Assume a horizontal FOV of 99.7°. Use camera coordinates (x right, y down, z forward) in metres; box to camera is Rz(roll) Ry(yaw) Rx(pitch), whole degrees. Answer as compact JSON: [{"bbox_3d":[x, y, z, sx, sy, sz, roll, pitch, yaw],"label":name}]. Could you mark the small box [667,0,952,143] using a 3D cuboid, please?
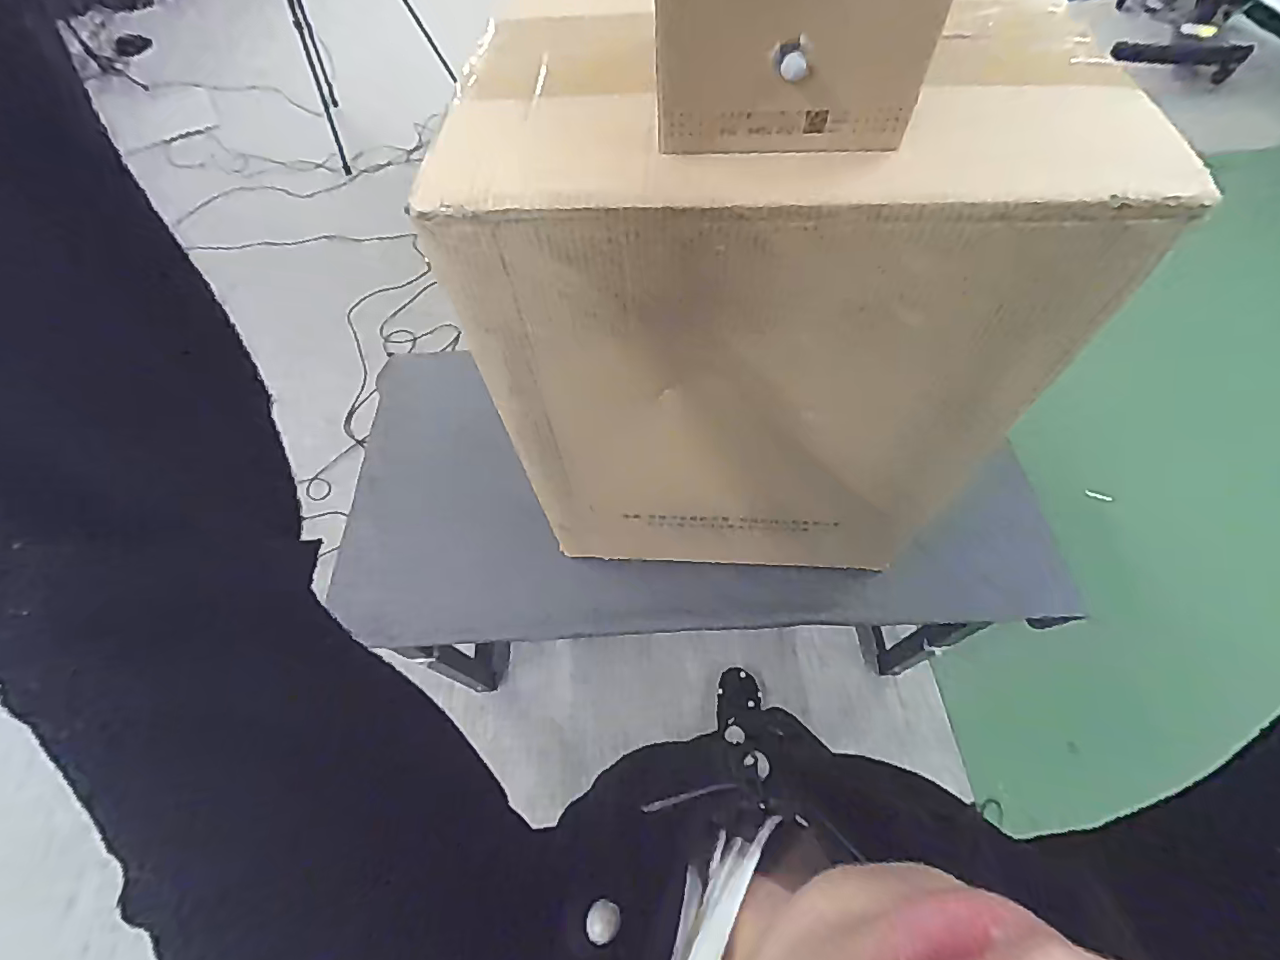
[{"bbox_3d":[0.103,-0.352,0.349,0.168,0.176,0.179,2,62,4],"label":"small box"}]
